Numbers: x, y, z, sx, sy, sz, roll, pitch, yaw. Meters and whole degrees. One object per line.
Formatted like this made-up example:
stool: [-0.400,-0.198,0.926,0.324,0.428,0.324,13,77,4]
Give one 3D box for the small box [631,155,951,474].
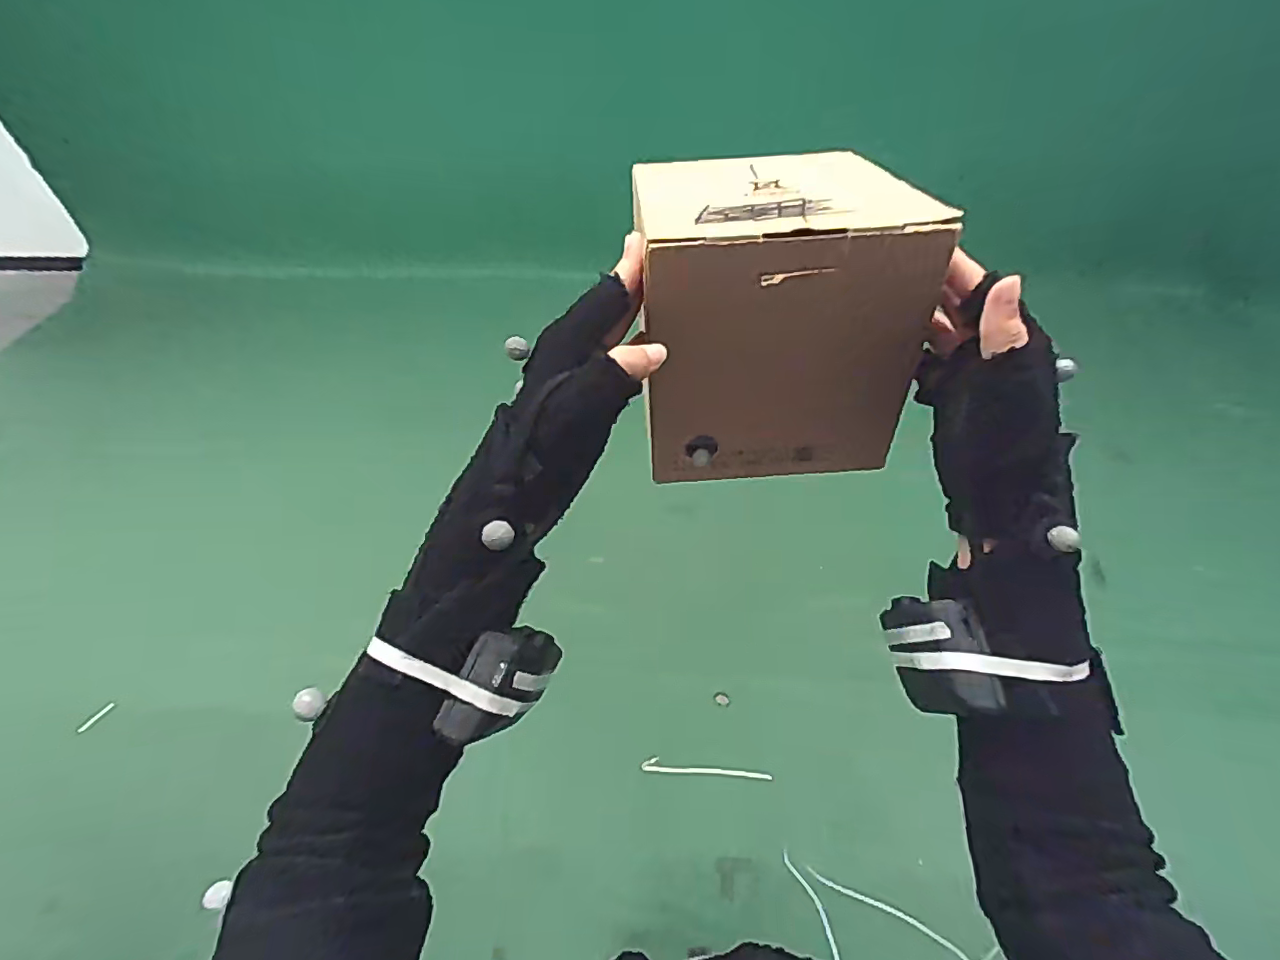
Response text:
small box: [0.083,-0.116,0.393,0.168,0.176,0.179,-4,41,0]
